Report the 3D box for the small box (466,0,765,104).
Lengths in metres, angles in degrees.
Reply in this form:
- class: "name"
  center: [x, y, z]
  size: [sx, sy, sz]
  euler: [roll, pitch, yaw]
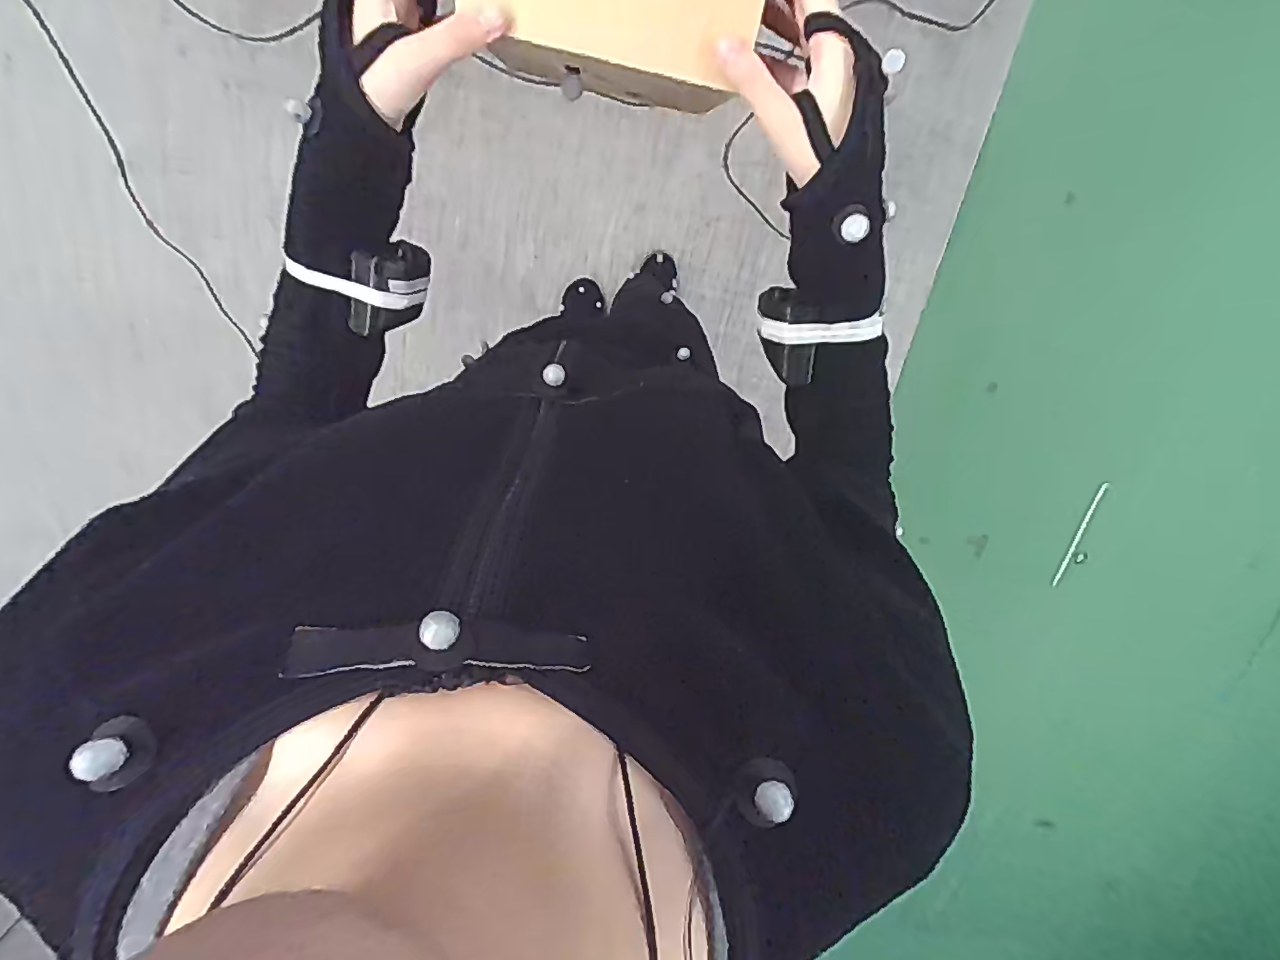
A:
- class: "small box"
  center: [-0.001, -0.358, 0.334]
  size: [0.168, 0.176, 0.179]
  euler: [9, 118, -7]
